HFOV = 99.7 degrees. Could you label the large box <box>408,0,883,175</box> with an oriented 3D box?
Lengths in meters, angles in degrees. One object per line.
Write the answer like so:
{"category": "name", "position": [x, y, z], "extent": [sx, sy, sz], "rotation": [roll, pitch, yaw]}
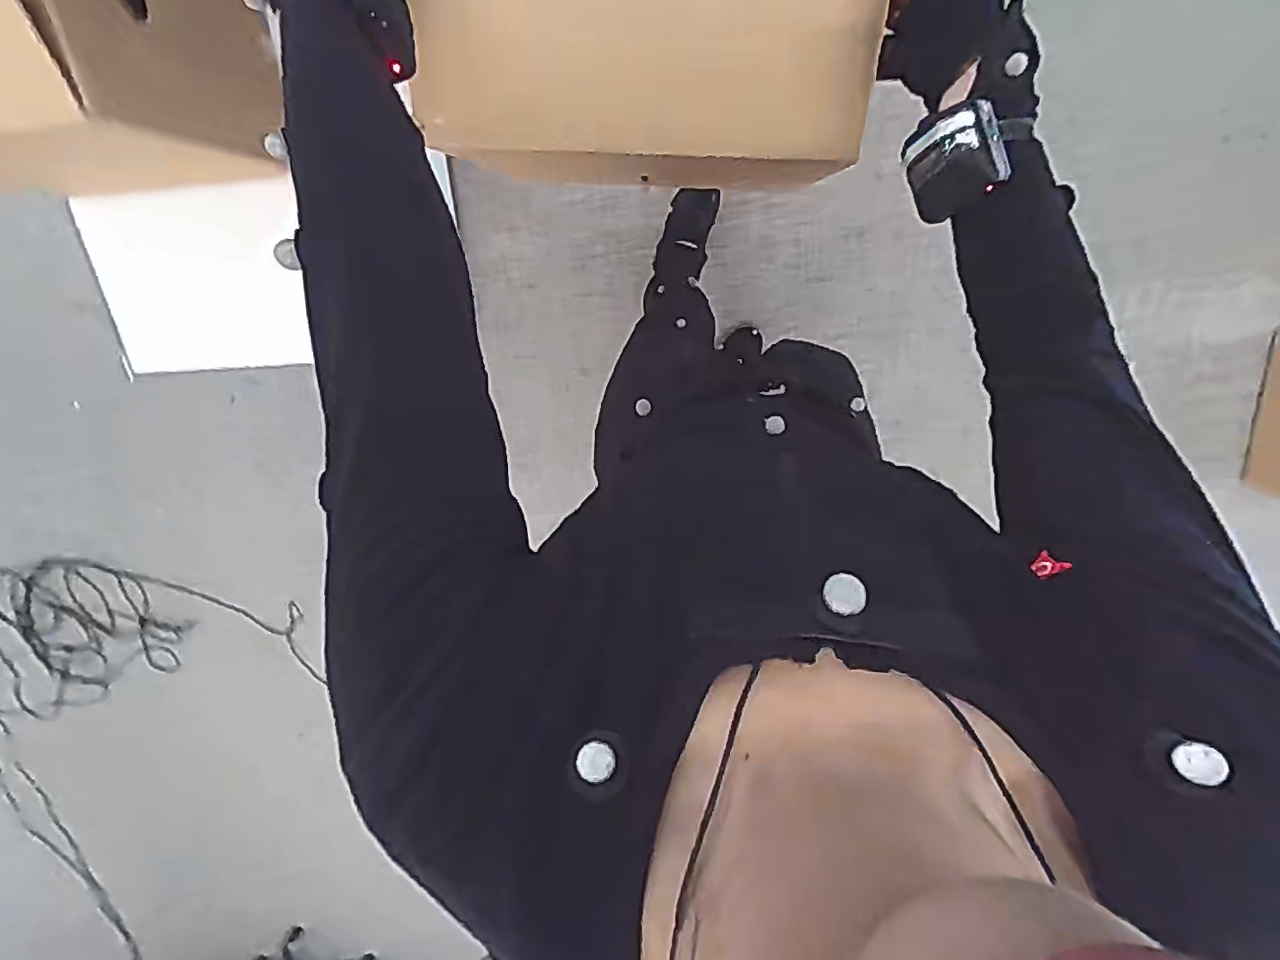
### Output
{"category": "large box", "position": [0.017, -0.506, 0.562], "extent": [0.408, 0.320, 0.320], "rotation": [5, 114, 4]}
